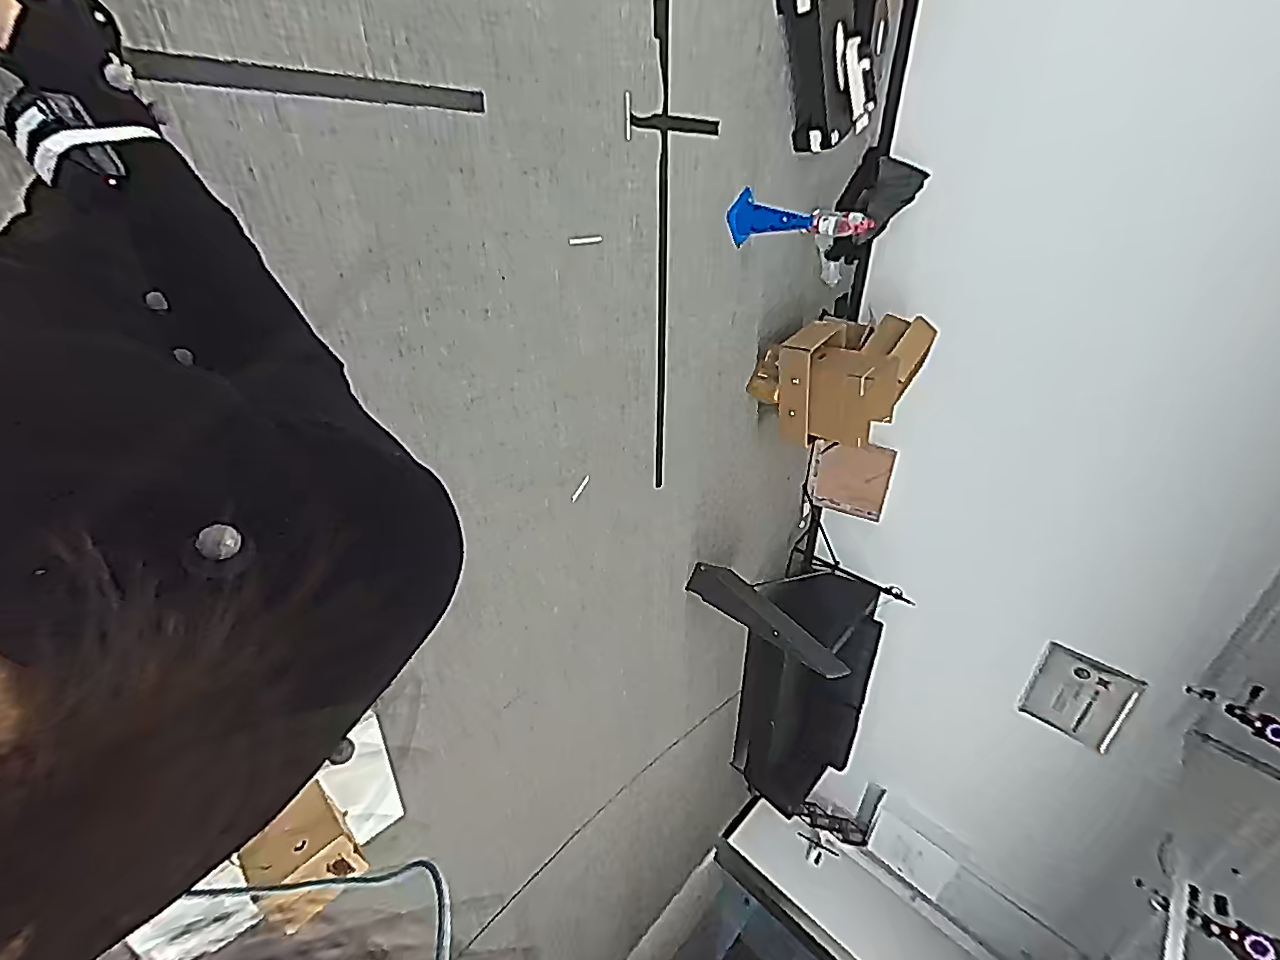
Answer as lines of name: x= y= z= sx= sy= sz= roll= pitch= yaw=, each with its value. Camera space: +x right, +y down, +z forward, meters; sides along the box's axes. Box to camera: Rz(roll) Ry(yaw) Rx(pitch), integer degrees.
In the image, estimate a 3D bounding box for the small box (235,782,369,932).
small box: x=-0.732 y=0.807 z=1.174 sx=0.179 sy=0.176 sz=0.168 roll=-31 pitch=132 yaw=-35
